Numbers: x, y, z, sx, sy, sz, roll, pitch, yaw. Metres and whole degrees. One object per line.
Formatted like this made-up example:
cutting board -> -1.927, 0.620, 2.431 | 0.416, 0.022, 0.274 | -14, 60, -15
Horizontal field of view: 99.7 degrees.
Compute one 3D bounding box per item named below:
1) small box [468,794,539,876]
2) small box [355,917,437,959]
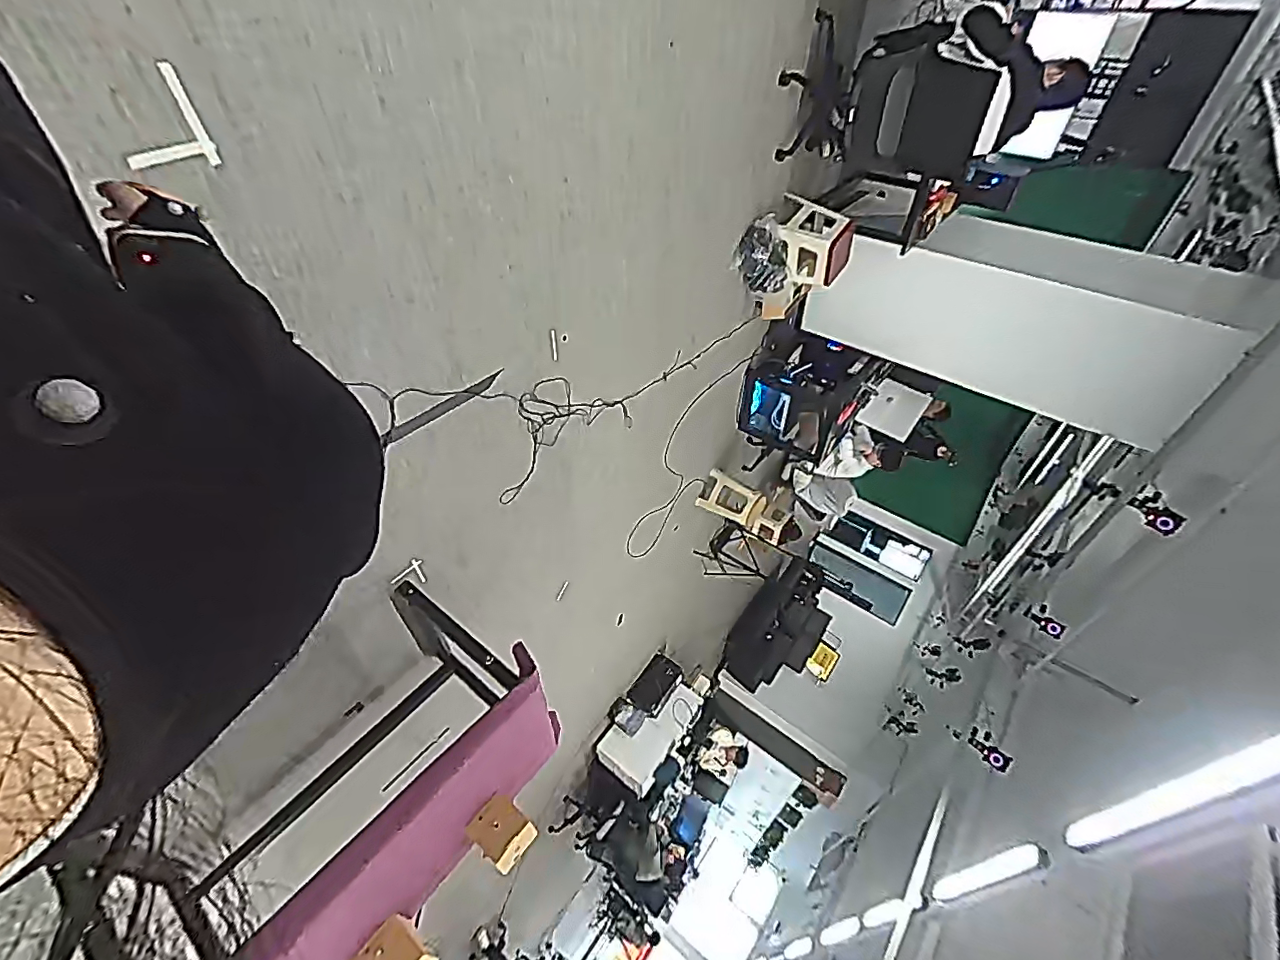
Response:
small box -> -0.491, 1.268, 1.941 | 0.168, 0.176, 0.179 | -42, 146, -33
small box -> -0.767, 1.525, 1.699 | 0.168, 0.176, 0.179 | -43, 147, -35
